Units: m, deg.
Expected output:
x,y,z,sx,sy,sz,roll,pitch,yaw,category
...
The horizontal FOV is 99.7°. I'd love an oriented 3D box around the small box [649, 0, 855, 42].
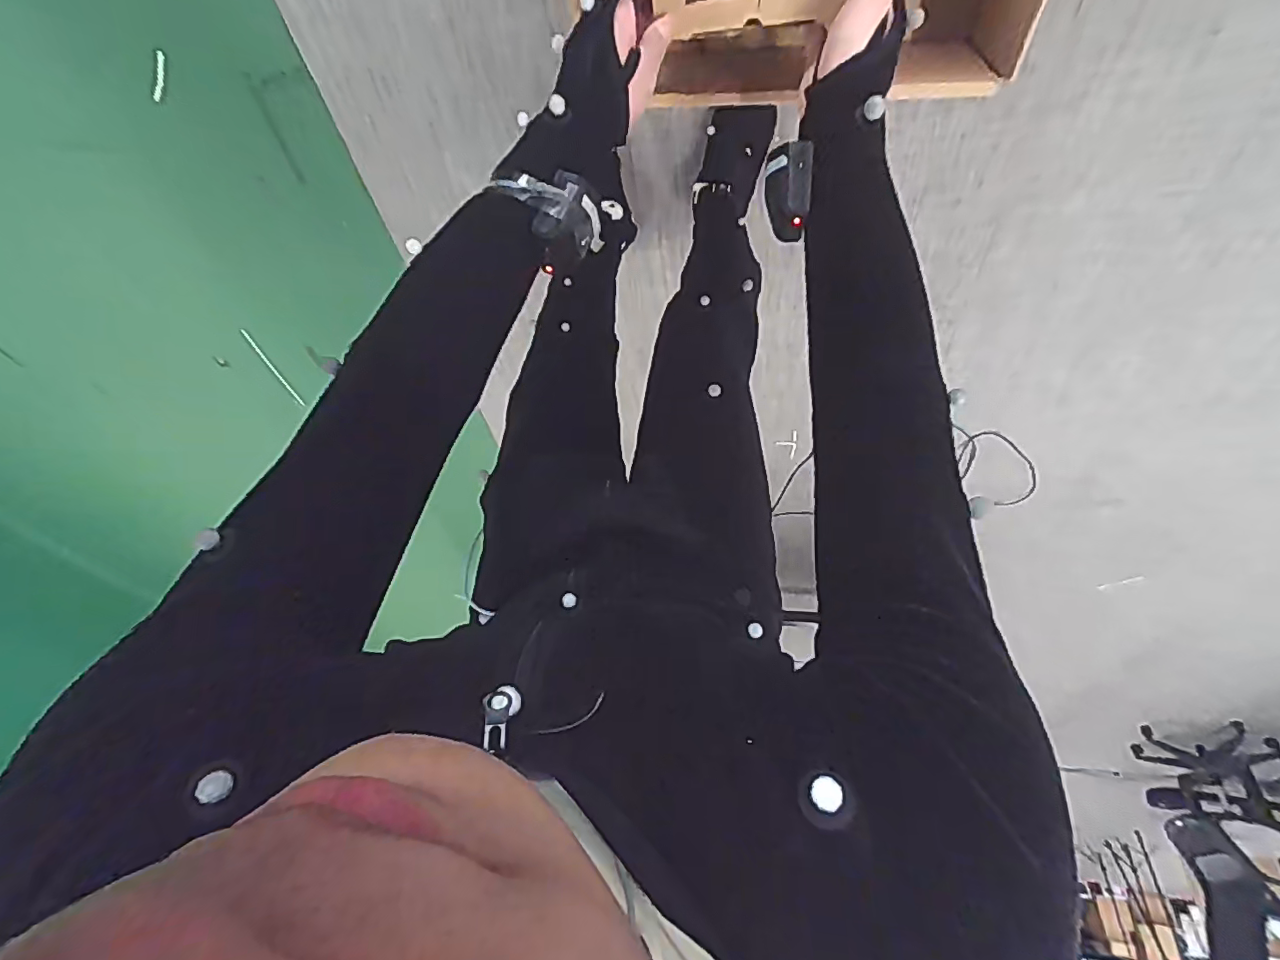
x,y,z,sx,sy,sz,roll,pitch,yaw,category
0.091,-0.485,0.426,0.168,0.176,0.179,1,141,10,small box
